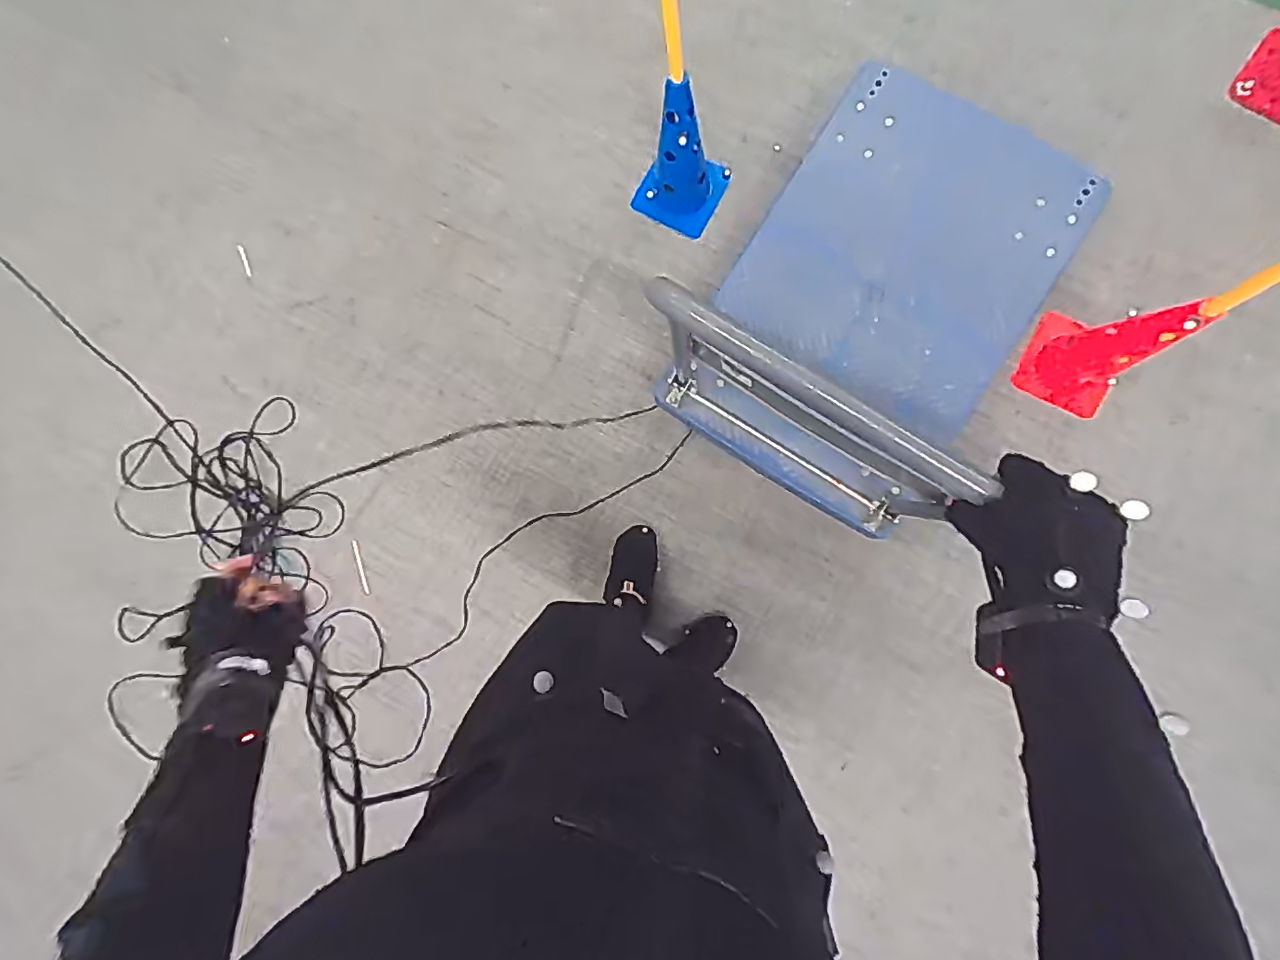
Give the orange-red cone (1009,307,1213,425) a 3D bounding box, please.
[{"bbox_3d":[0.972,-0.262,1.093,0.199,0.360,0.198,29,89,8],"label":"orange-red cone"}]
